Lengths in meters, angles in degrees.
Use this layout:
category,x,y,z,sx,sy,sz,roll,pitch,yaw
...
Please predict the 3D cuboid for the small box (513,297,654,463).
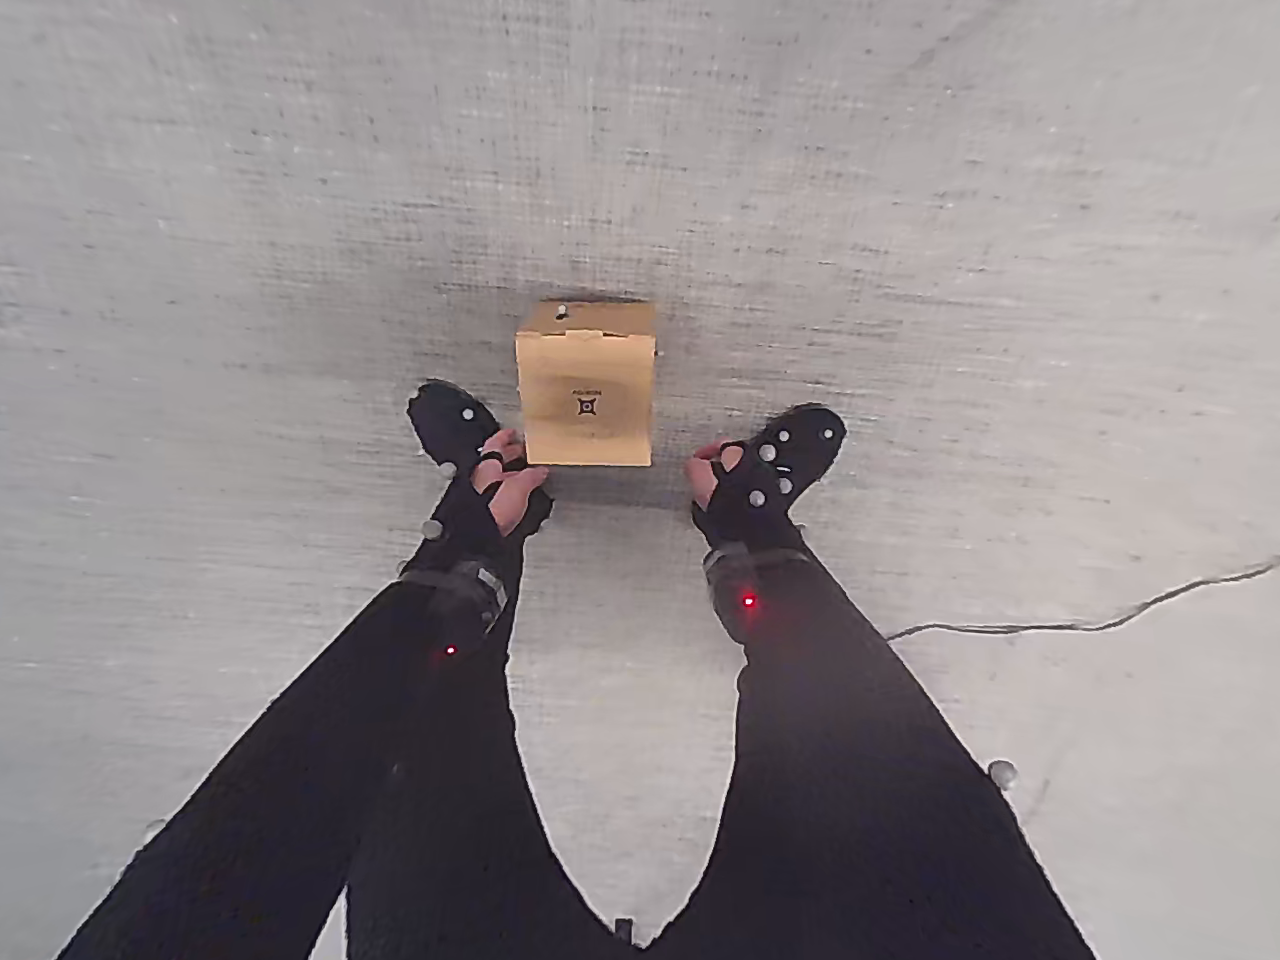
category,x,y,z,sx,sy,sz,roll,pitch,yaw
small box,-0.067,-0.142,0.735,0.168,0.176,0.179,3,123,1
